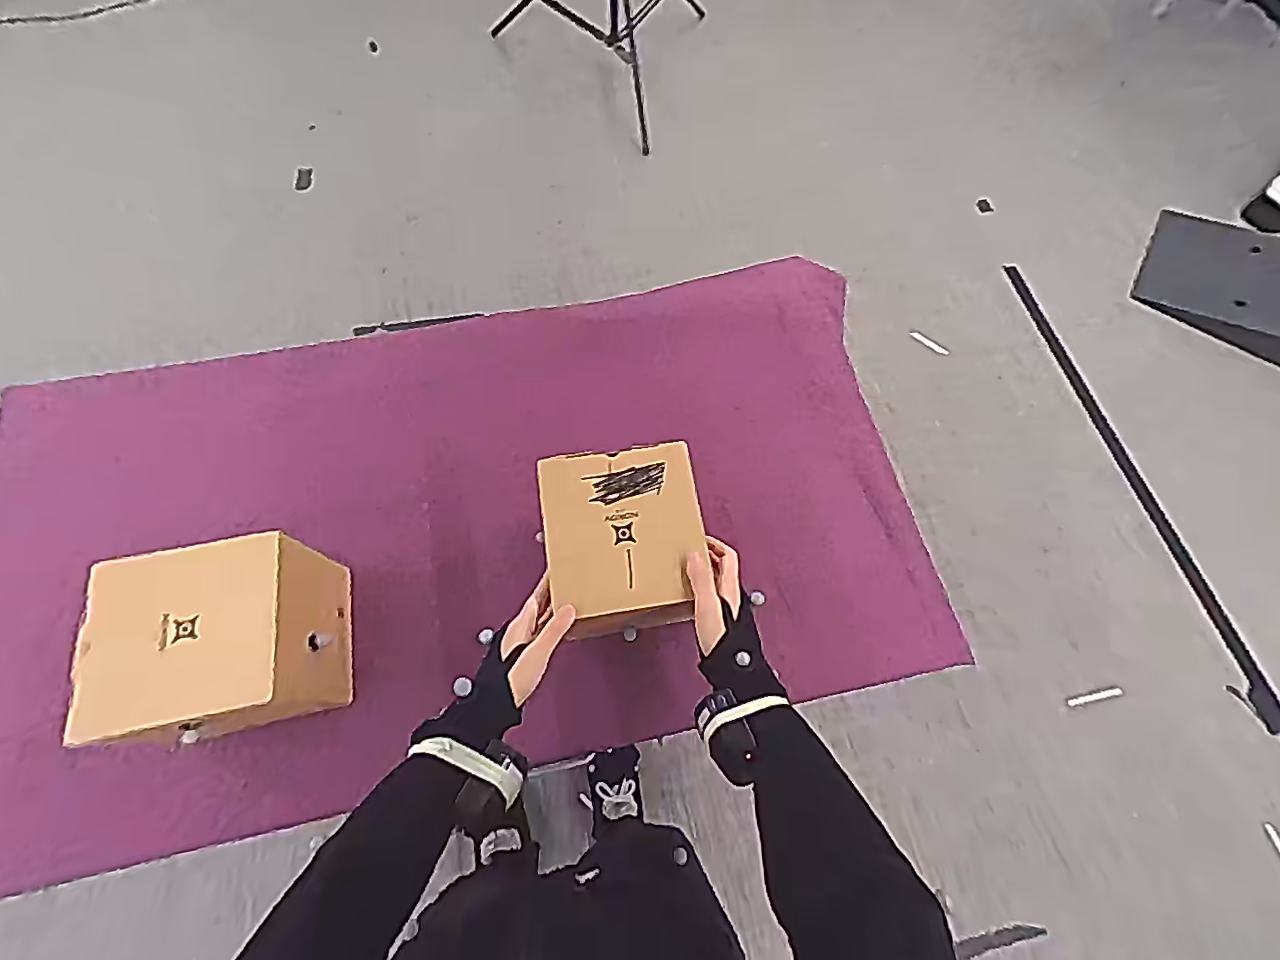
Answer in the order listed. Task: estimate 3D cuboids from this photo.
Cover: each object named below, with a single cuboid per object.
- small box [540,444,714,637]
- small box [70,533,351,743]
[{"bbox_3d":[-0.022,0.078,0.638,0.168,0.176,0.179,-8,69,-5],"label":"small box"},{"bbox_3d":[-0.433,0.171,0.584,0.179,0.176,0.168,-11,69,-6],"label":"small box"}]
